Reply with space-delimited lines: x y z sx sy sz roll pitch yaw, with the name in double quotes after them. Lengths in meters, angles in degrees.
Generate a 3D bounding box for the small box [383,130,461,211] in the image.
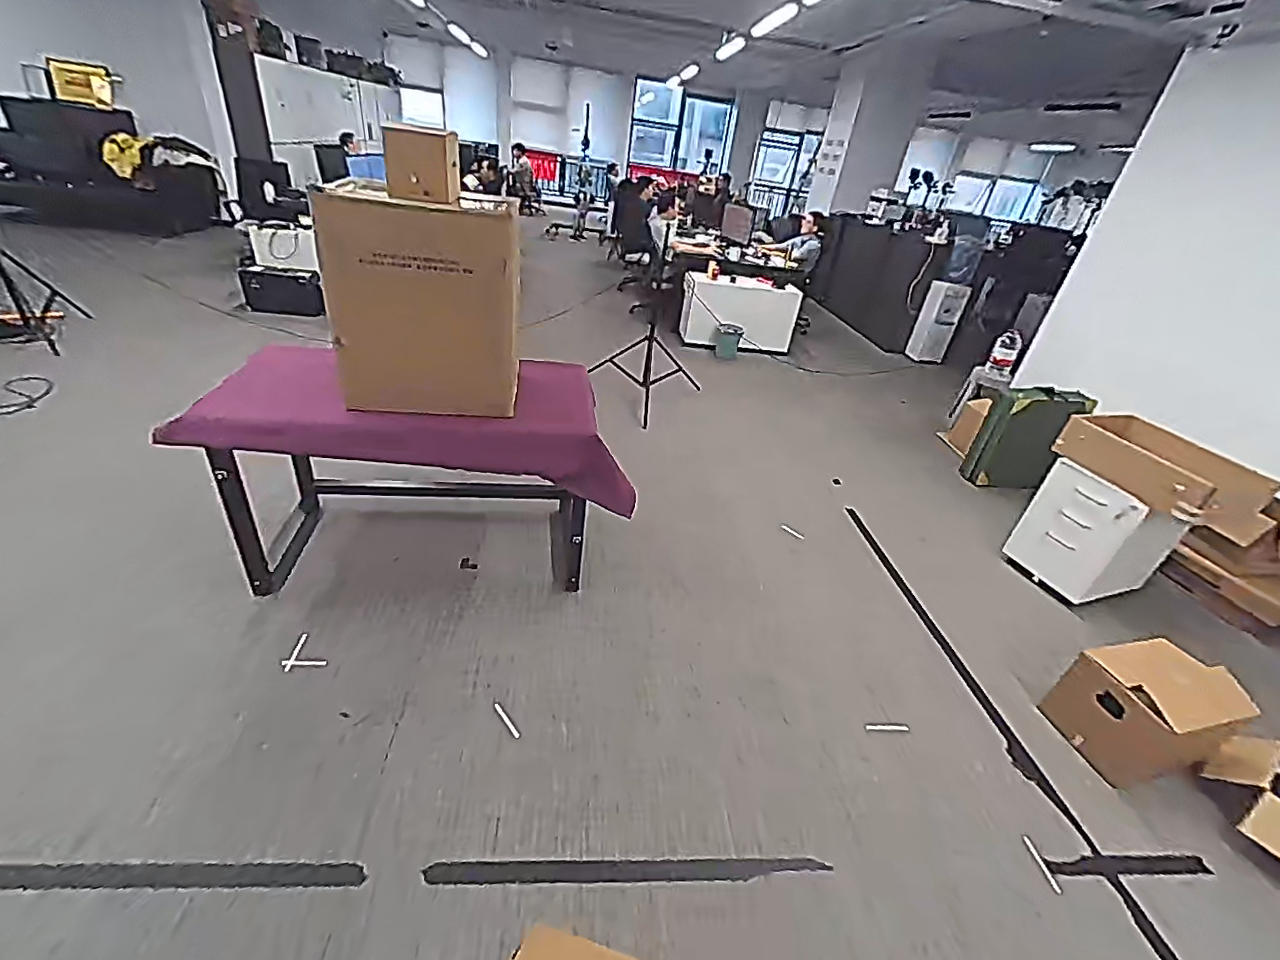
-0.605 -0.872 1.521 0.168 0.176 0.179 3 34 -8 "small box"

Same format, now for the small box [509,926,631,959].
-0.053 0.508 0.417 0.179 0.176 0.168 14 -12 9 "small box"
